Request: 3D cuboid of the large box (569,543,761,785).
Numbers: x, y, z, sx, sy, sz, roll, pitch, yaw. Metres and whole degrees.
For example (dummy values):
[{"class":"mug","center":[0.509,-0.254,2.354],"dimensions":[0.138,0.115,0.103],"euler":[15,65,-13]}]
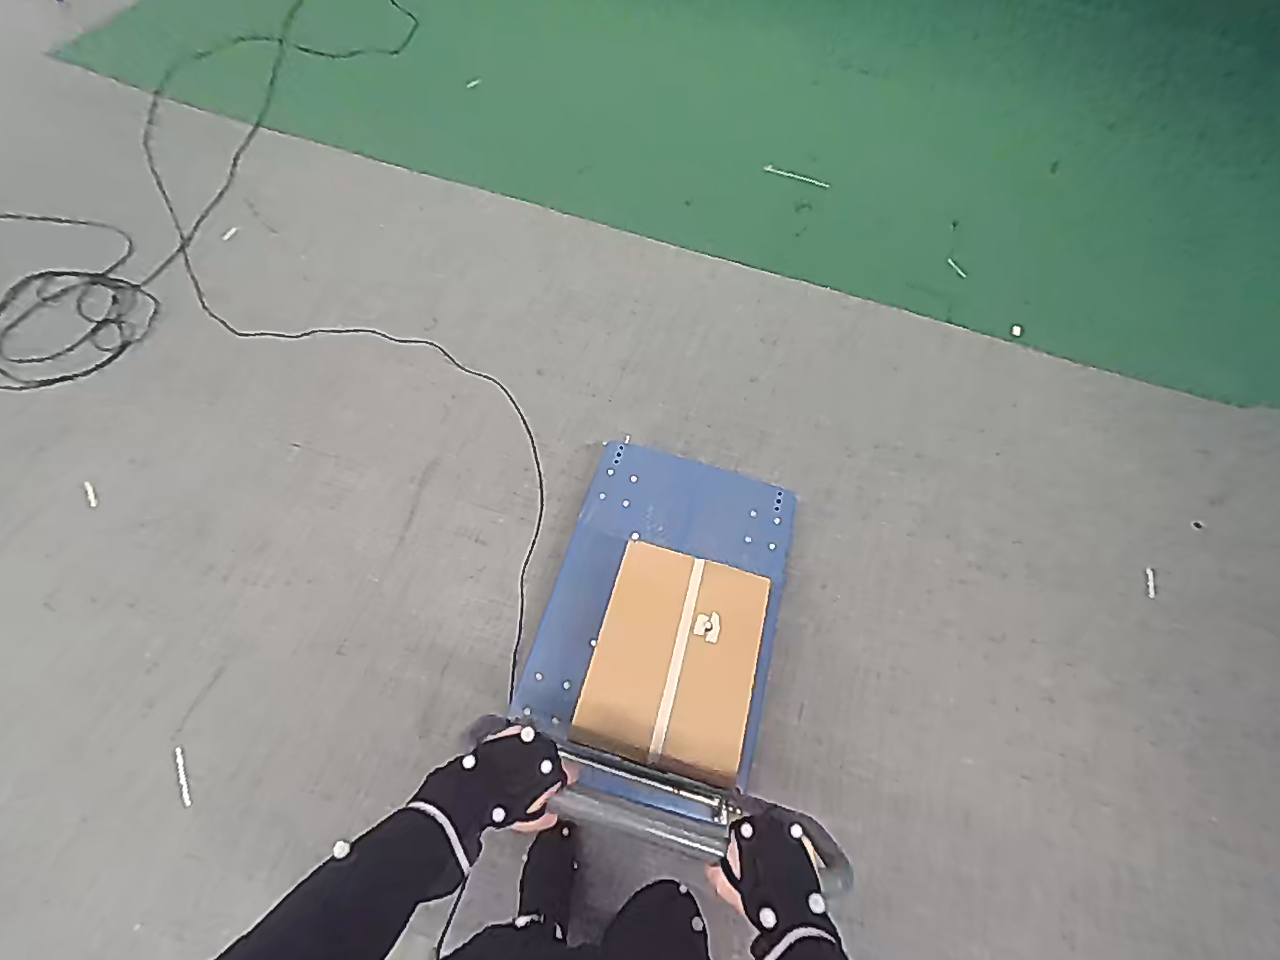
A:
[{"class":"large box","center":[0.051,0.411,1.192],"dimensions":[0.320,0.320,0.408],"euler":[16,62,2]}]
